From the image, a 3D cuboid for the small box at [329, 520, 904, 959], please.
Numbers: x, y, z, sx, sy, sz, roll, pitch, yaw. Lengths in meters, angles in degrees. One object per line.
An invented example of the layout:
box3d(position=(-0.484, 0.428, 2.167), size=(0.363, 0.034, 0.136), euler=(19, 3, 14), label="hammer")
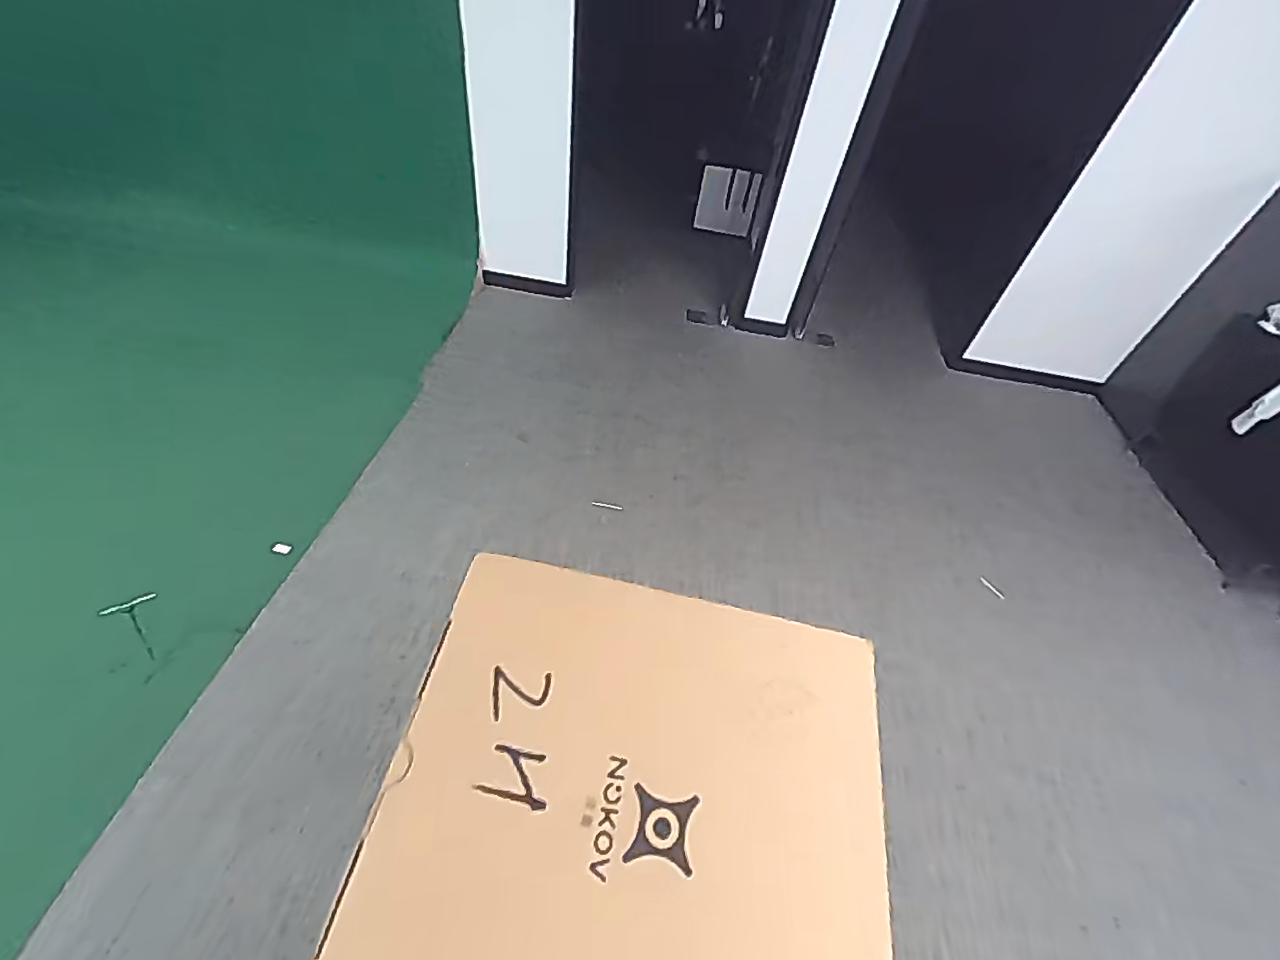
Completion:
box3d(position=(-0.001, 0.146, 0.261), size=(0.179, 0.176, 0.168), euler=(13, 55, 1), label="small box")
